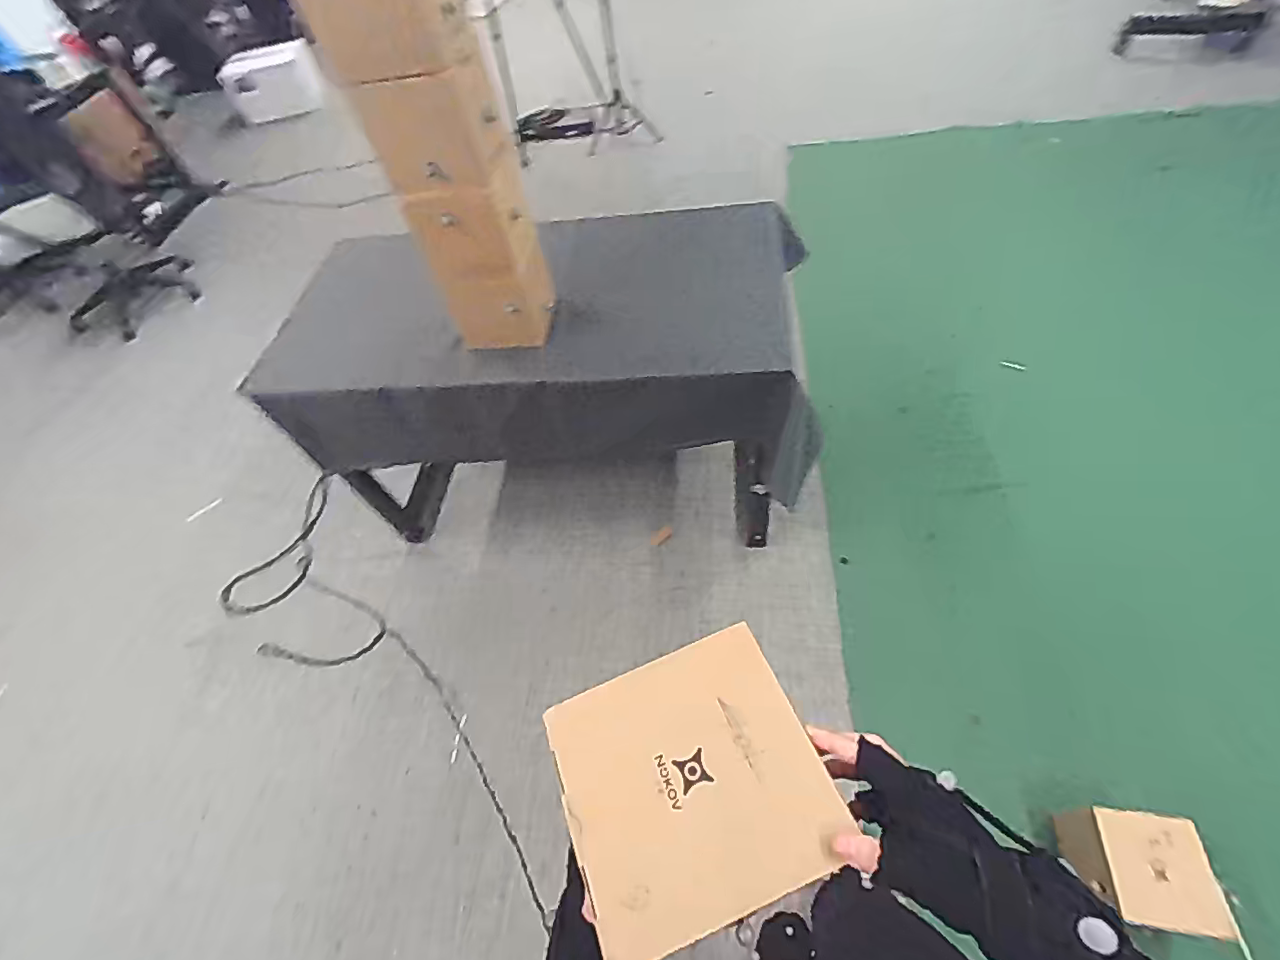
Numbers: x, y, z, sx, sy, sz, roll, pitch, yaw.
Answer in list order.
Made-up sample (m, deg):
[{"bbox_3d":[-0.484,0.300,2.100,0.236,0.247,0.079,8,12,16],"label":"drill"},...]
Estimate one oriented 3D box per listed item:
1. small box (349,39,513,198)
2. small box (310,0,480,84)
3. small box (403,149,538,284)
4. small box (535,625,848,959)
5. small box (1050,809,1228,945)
[{"bbox_3d":[-0.329,-0.594,0.899,0.179,0.176,0.168,1,54,9],"label":"small box"},{"bbox_3d":[-0.356,-0.692,0.769,0.179,0.176,0.168,0,55,8],"label":"small box"},{"bbox_3d":[-0.307,-0.494,1.027,0.179,0.176,0.168,-1,54,8],"label":"small box"},{"bbox_3d":[0.039,0.252,0.437,0.179,0.176,0.168,-23,52,-6],"label":"small box"},{"bbox_3d":[0.933,0.751,1.034,0.168,0.176,0.179,3,55,11],"label":"small box"}]
